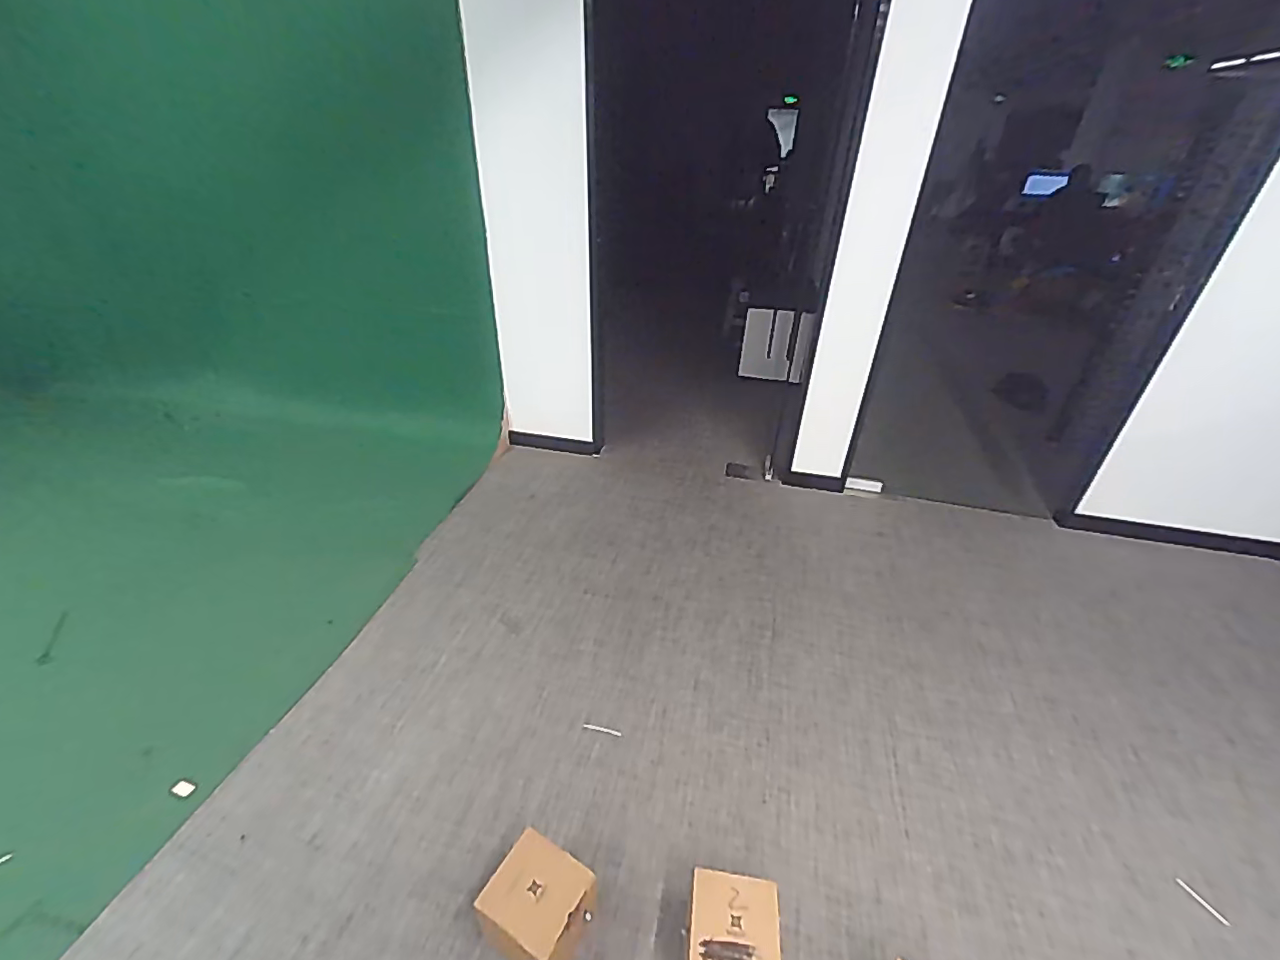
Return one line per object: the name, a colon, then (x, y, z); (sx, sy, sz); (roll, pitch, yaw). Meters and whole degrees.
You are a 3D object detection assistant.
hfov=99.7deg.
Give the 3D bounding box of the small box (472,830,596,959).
small box: (-0.201, 0.856, 1.075); (0.179, 0.176, 0.168); (15, 34, 26)
